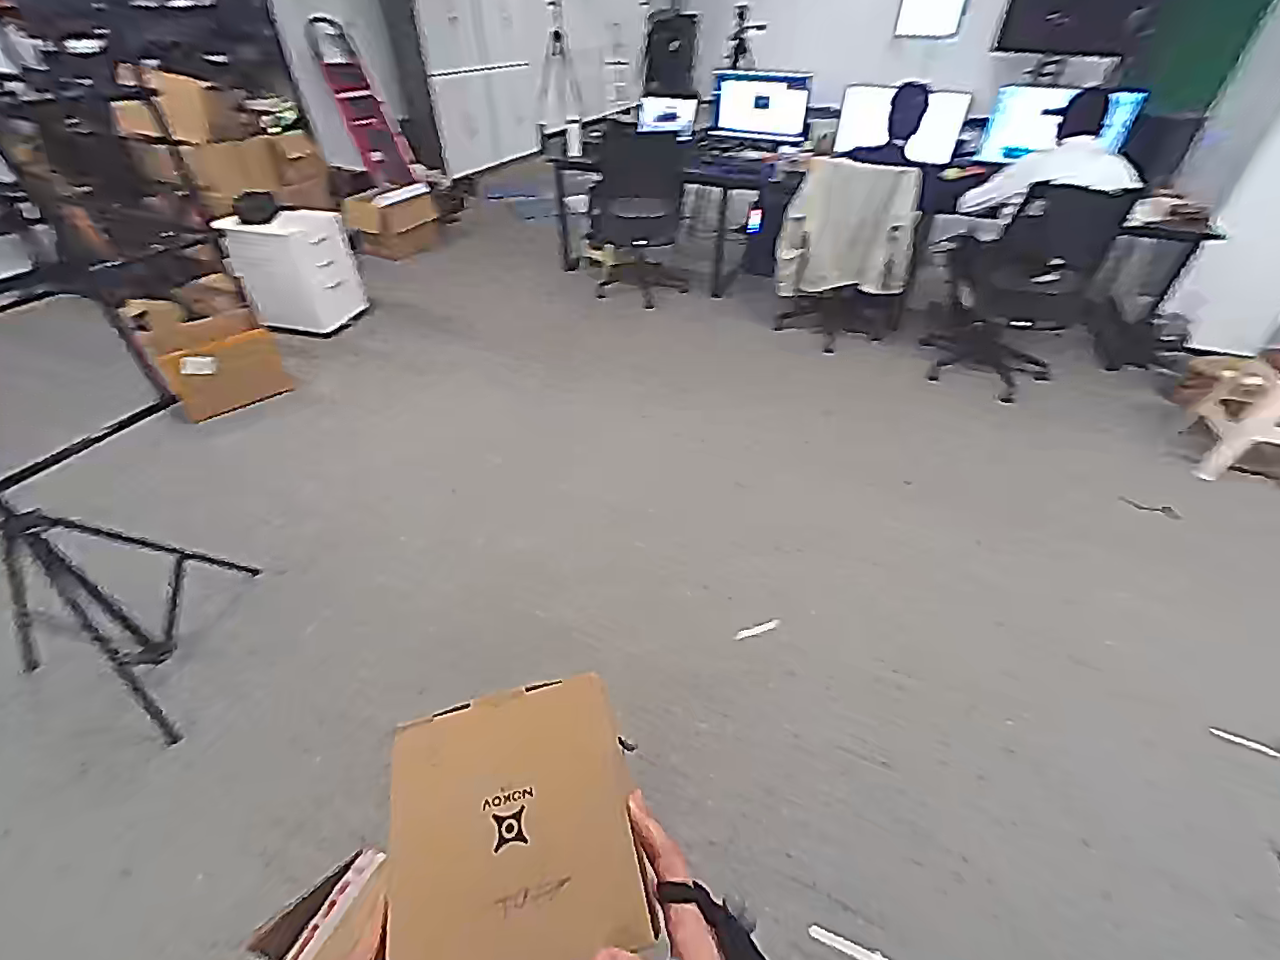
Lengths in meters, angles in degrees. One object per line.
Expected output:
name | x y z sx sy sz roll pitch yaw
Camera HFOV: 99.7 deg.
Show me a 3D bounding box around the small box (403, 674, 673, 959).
small box | -0.073 0.287 0.438 0.168 0.176 0.179 -13 52 -4
